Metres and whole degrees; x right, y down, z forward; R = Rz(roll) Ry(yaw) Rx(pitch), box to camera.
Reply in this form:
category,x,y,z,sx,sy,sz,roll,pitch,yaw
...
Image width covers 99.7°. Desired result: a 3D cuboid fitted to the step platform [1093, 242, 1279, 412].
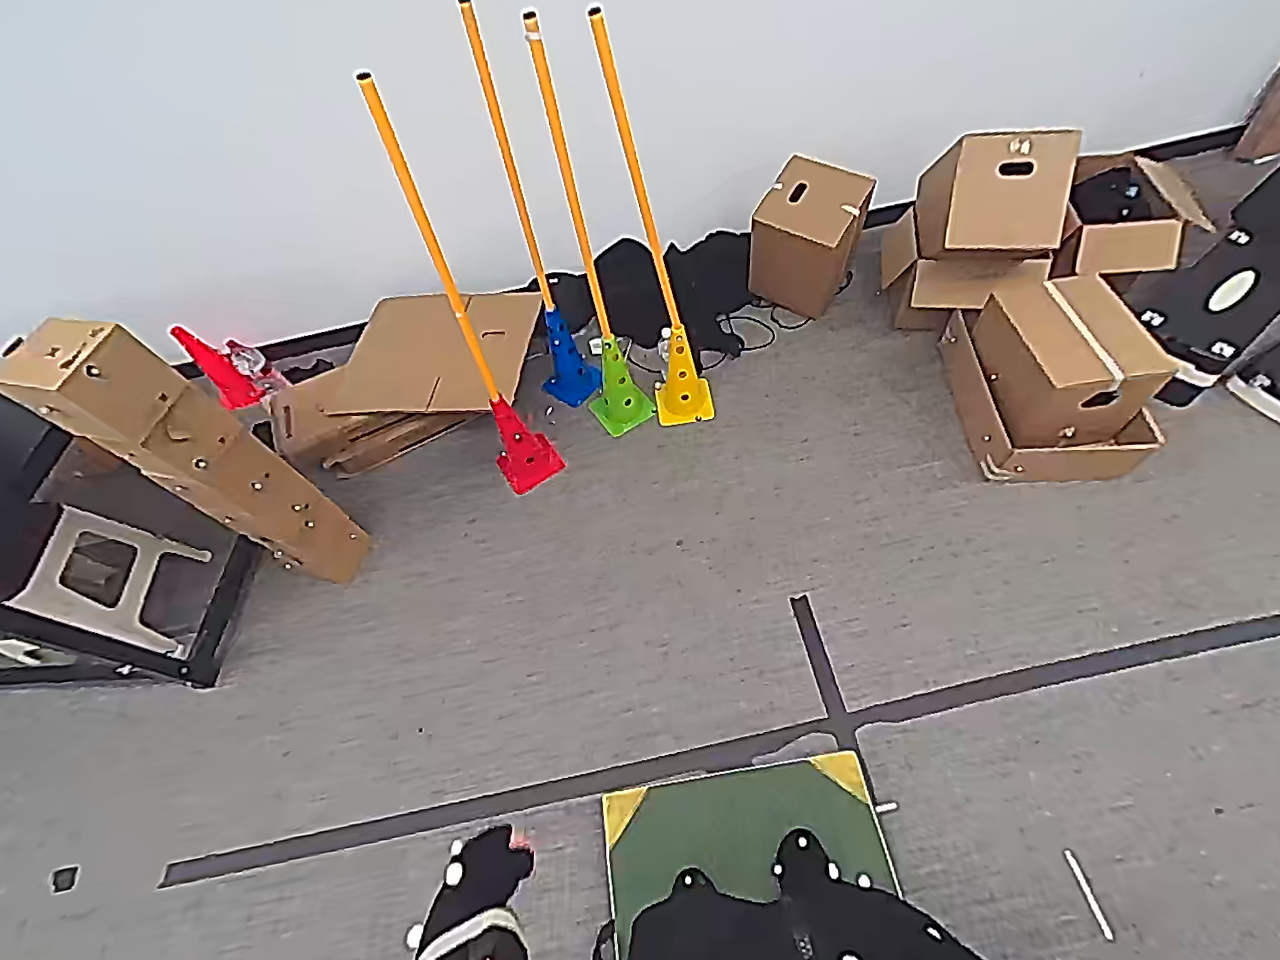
category,x,y,z,sx,sy,sz,roll,pitch,yaw
step platform,1.873,-0.525,1.806,0.684,0.204,0.286,-37,60,-14
